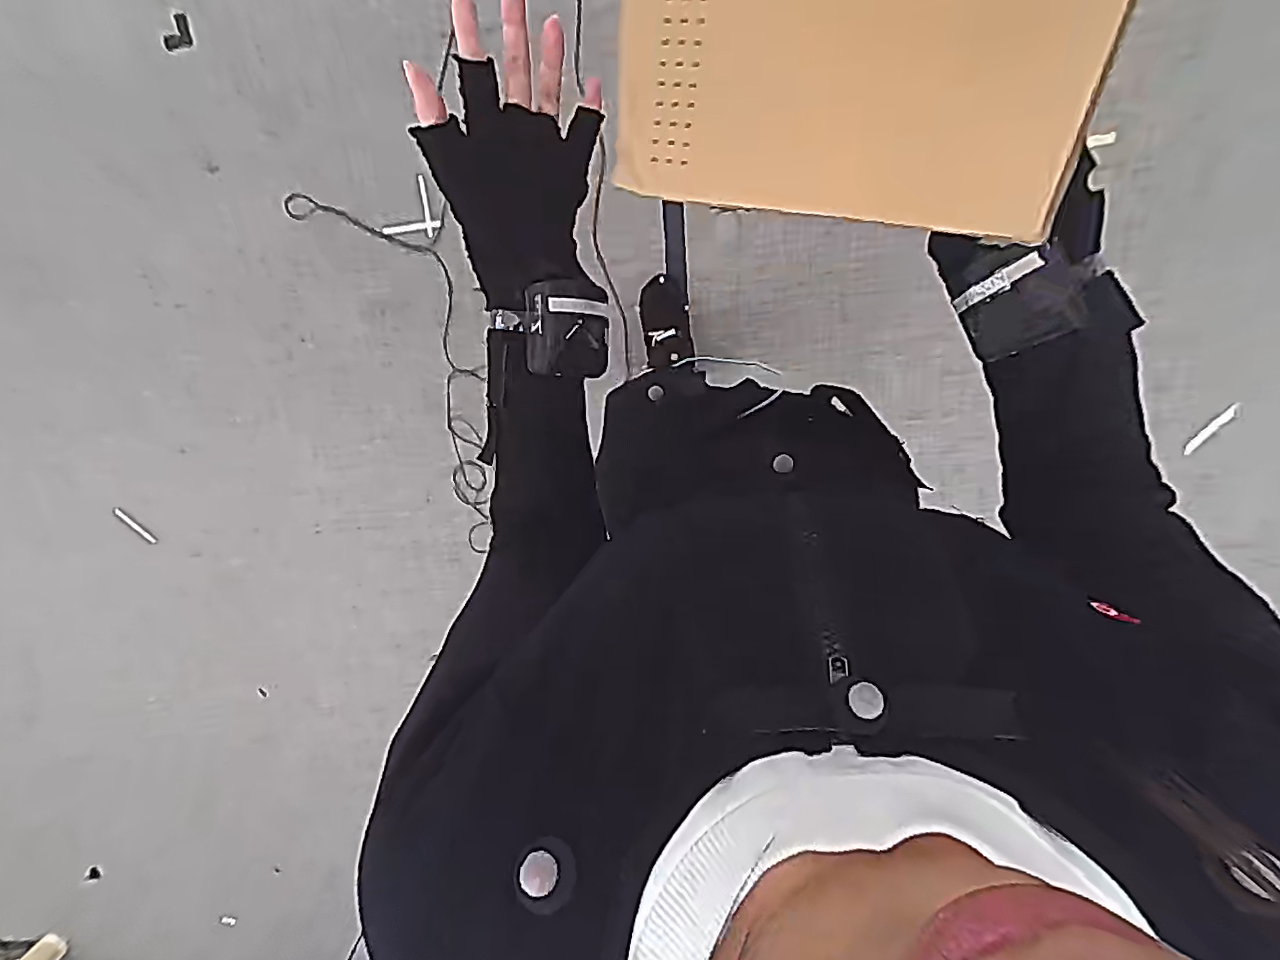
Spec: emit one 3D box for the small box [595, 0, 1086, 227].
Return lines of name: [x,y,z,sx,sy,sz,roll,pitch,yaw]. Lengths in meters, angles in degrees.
small box: [0.087,-0.220,0.247,0.176,0.168,0.179,15,120,16]
